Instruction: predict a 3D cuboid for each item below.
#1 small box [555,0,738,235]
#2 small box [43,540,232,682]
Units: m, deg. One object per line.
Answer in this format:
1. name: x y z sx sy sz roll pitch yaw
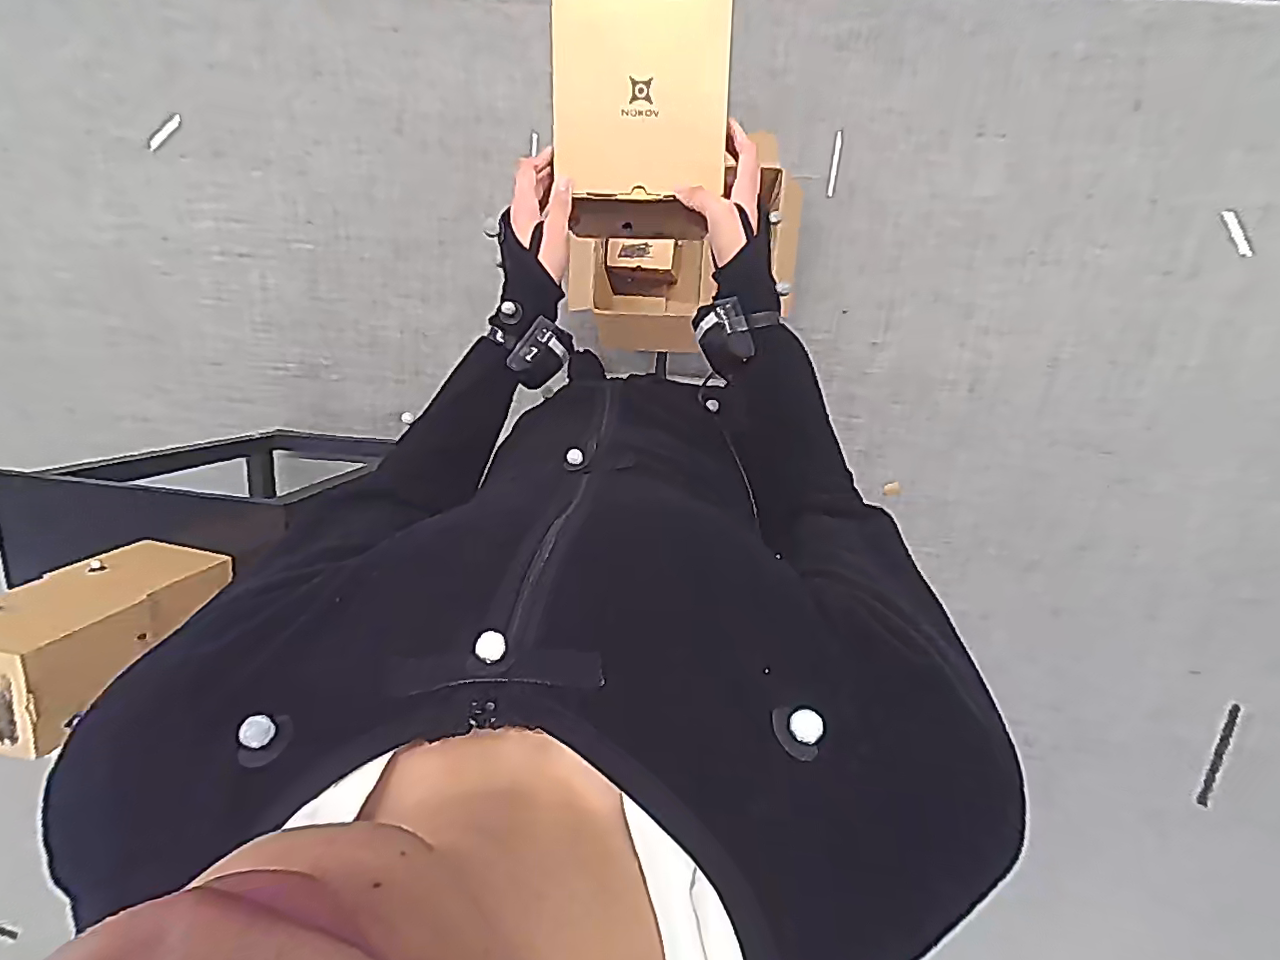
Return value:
1. small box: 0.002 -0.374 0.571 0.168 0.176 0.179 1 103 0
2. small box: -0.859 0.216 0.940 0.179 0.176 0.168 11 105 3
